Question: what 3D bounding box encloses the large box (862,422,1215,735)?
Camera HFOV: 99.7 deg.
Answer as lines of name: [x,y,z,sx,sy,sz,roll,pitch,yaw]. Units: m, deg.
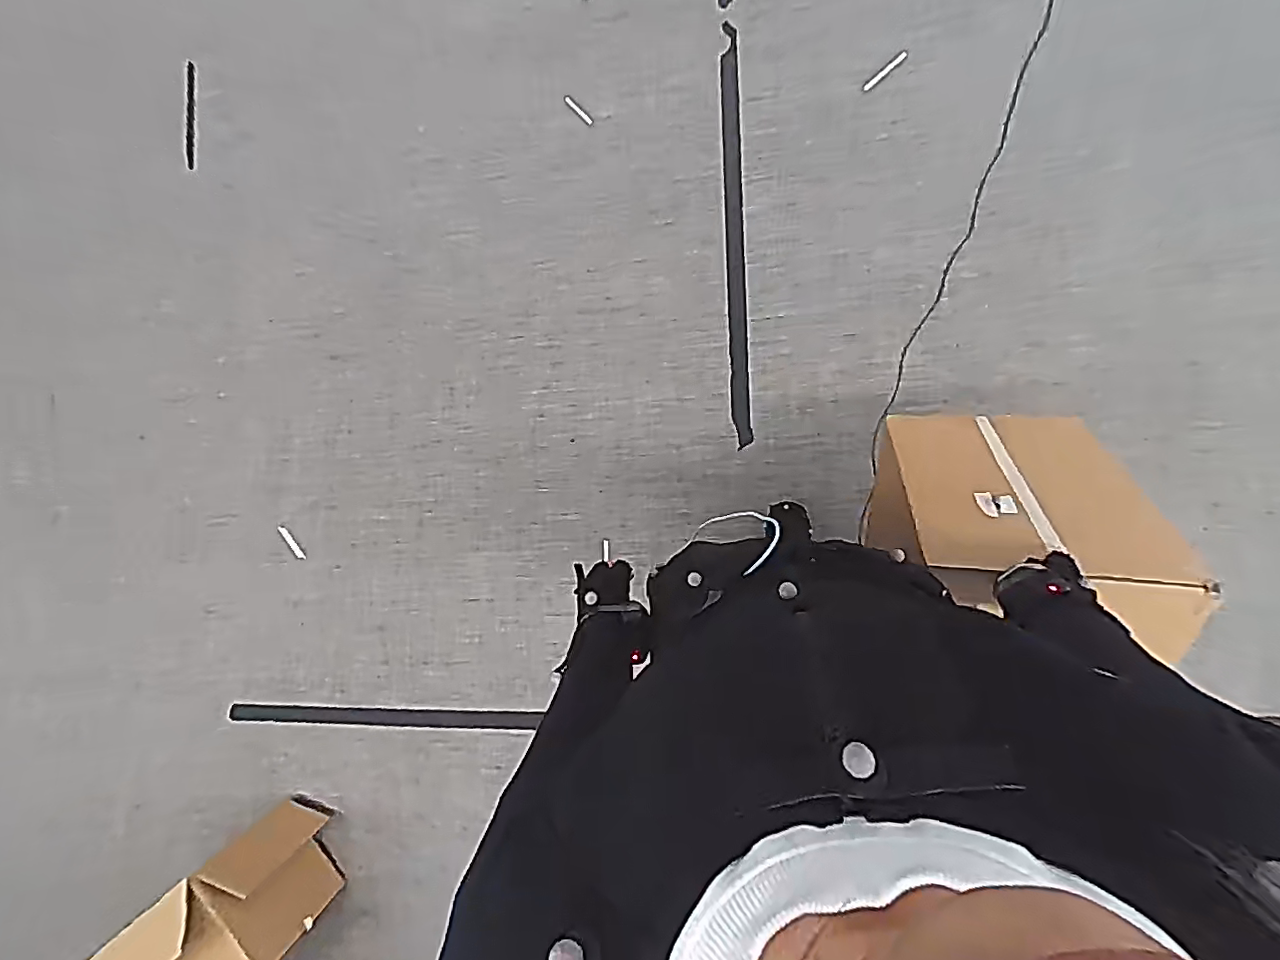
large box: [0.574,0.136,0.899,0.320,0.408,0.320,2,126,14]
